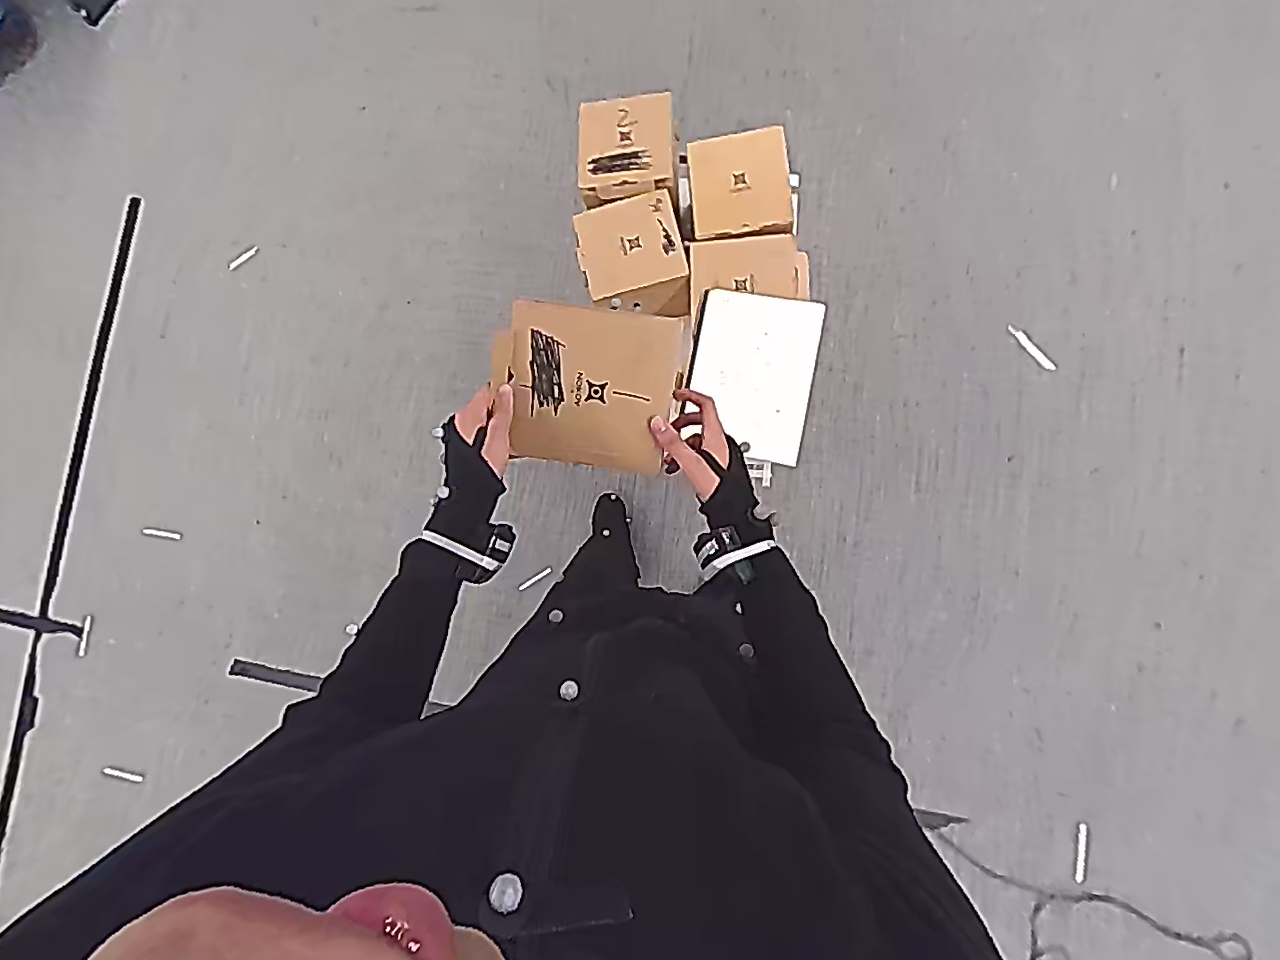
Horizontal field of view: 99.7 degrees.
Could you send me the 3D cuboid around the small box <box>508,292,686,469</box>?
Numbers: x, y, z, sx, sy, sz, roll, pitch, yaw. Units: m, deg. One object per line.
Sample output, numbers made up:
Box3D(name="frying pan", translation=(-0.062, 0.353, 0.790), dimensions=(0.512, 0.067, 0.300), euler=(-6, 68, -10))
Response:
Box3D(name="small box", translation=(-0.044, -0.123, 0.649), dimensions=(0.179, 0.176, 0.168), euler=(9, 106, 1))
